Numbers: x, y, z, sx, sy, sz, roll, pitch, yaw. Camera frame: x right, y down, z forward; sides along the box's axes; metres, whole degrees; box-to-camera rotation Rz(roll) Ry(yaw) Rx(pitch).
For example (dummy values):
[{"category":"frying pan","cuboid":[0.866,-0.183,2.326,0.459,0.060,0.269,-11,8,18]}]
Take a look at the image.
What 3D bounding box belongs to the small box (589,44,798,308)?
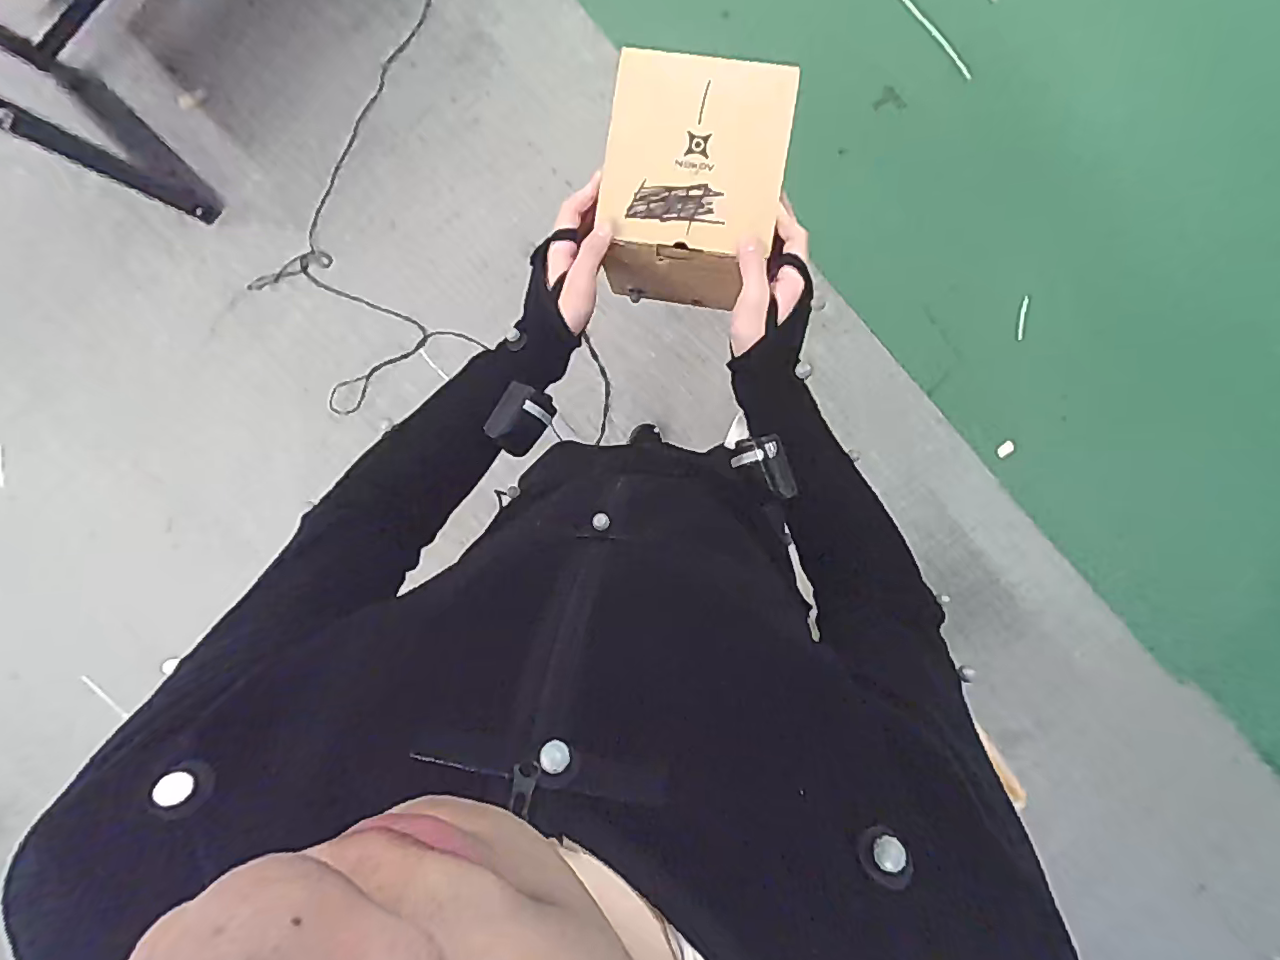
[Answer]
[{"category":"small box","cuboid":[0.051,-0.295,0.563,0.168,0.176,0.179,9,91,2]}]
